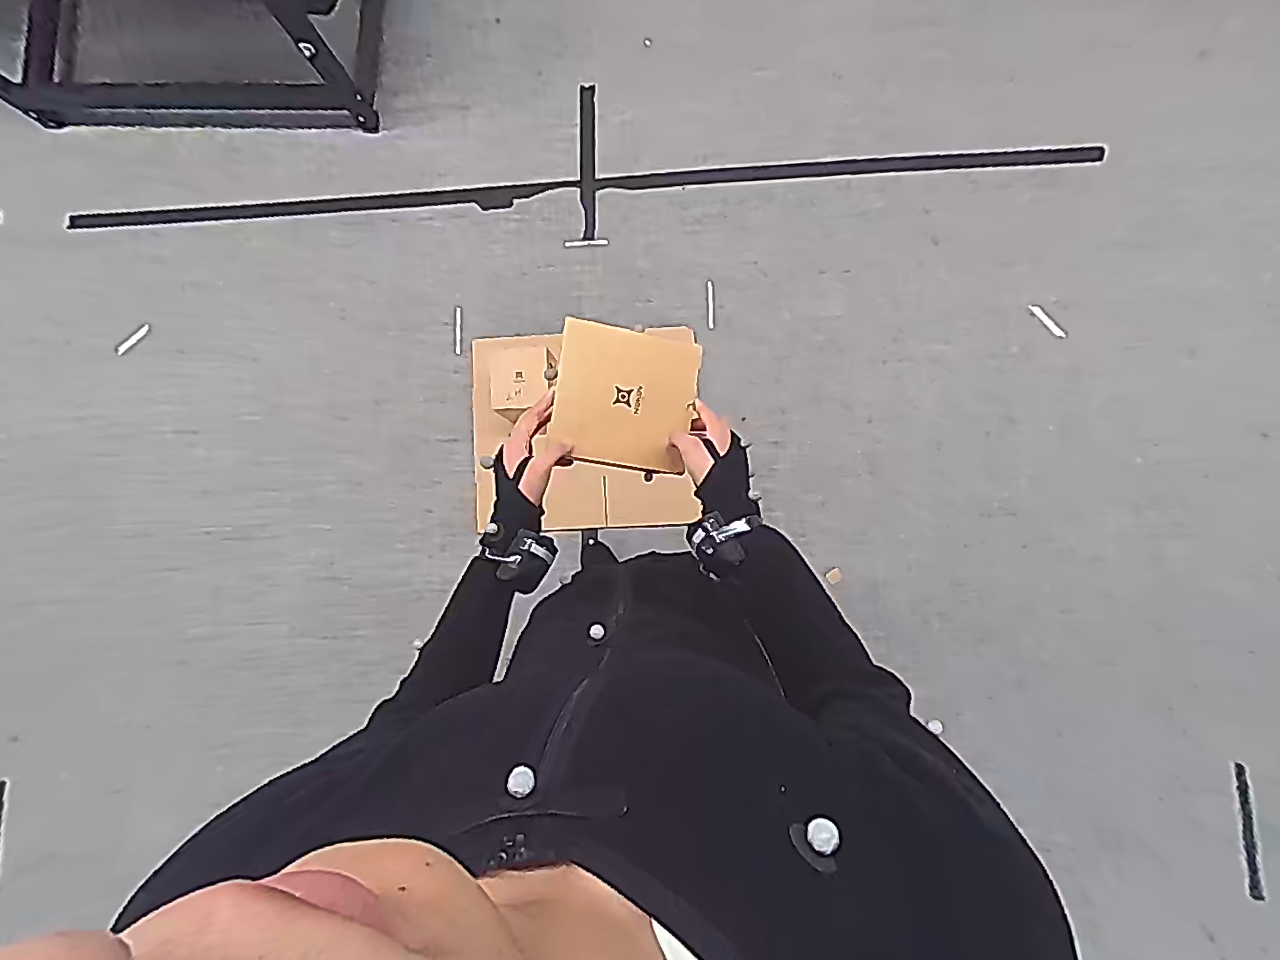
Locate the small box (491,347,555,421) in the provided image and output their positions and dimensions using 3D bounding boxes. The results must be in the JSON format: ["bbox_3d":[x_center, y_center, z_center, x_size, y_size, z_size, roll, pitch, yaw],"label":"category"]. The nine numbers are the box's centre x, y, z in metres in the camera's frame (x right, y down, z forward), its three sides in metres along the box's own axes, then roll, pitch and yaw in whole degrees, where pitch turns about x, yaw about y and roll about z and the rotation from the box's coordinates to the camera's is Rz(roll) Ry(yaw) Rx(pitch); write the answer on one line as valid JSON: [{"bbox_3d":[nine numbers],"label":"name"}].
[{"bbox_3d":[-0.333,-0.278,1.591,0.168,0.176,0.179,-3,85,4],"label":"small box"}]

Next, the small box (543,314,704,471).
[{"bbox_3d":[-0.033,-0.106,0.731,0.179,0.176,0.168,9,91,-13],"label":"small box"}]
